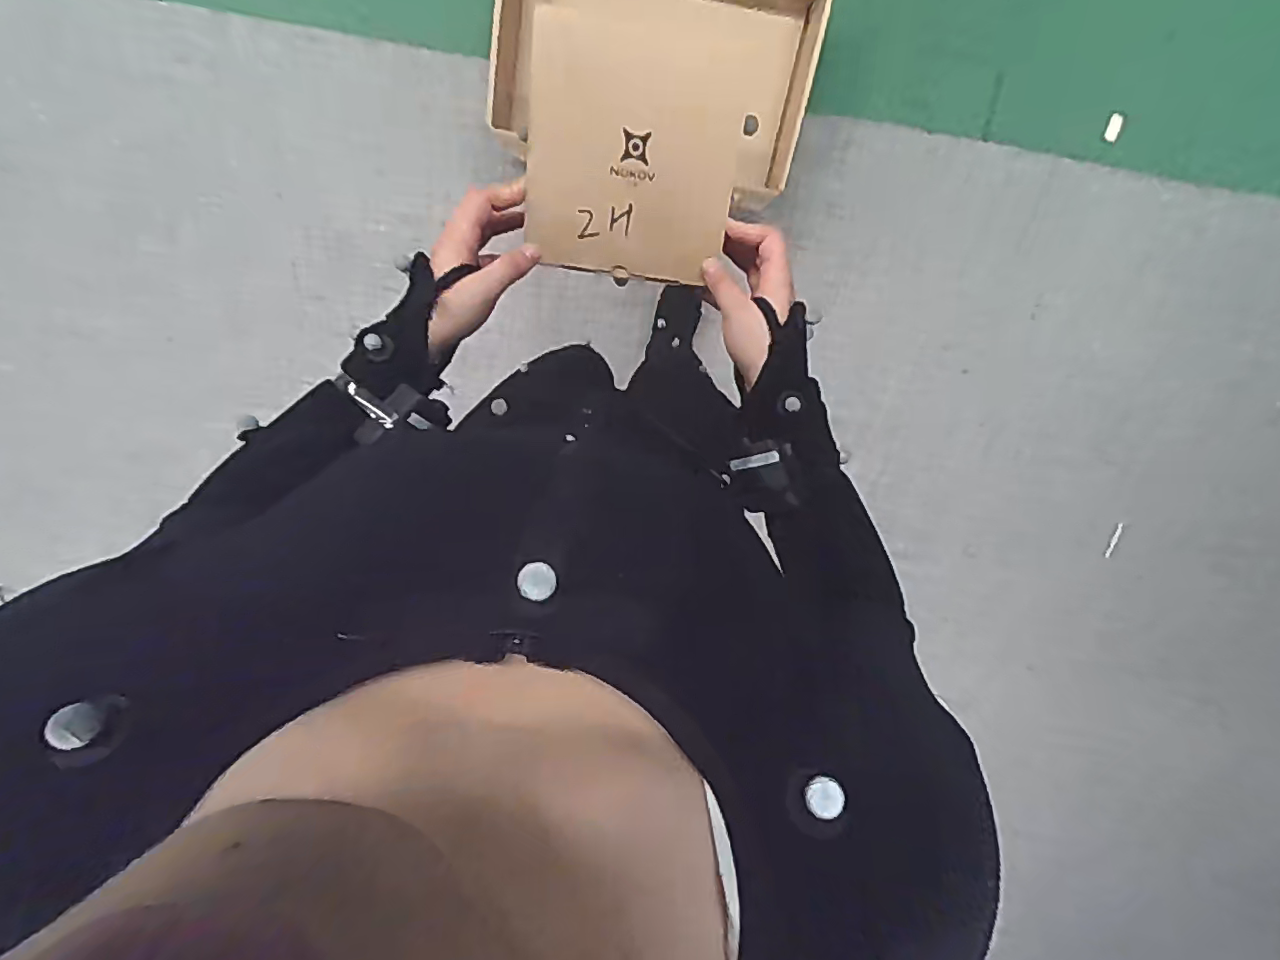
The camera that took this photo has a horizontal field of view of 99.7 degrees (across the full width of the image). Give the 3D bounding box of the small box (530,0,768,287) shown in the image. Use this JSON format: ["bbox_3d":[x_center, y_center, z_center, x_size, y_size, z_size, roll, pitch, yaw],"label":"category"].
[{"bbox_3d":[-0.001,-0.284,0.490,0.168,0.176,0.179,7,114,-4],"label":"small box"}]
